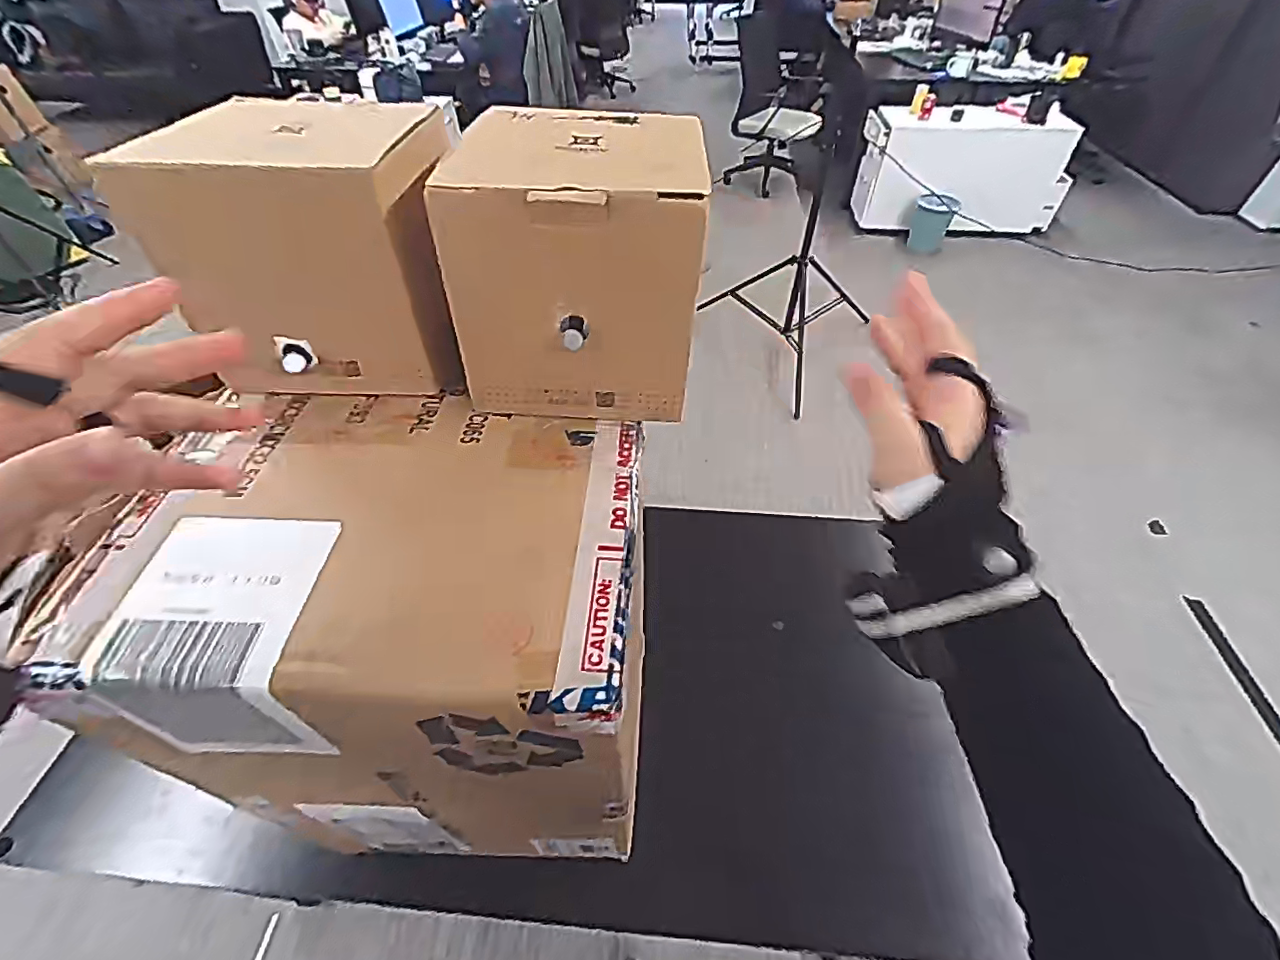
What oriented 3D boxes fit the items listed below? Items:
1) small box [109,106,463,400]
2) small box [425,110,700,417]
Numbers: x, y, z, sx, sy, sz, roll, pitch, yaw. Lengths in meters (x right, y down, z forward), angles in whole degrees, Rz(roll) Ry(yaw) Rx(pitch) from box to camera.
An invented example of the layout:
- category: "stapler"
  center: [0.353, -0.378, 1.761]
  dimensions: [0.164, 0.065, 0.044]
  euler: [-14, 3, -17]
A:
- category: "small box"
  center: [-0.242, -0.184, 0.440]
  dimensions: [0.168, 0.176, 0.179]
  euler: [-1, 46, -2]
- category: "small box"
  center: [-0.044, -0.167, 0.427]
  dimensions: [0.168, 0.176, 0.179]
  euler: [4, 48, -1]
